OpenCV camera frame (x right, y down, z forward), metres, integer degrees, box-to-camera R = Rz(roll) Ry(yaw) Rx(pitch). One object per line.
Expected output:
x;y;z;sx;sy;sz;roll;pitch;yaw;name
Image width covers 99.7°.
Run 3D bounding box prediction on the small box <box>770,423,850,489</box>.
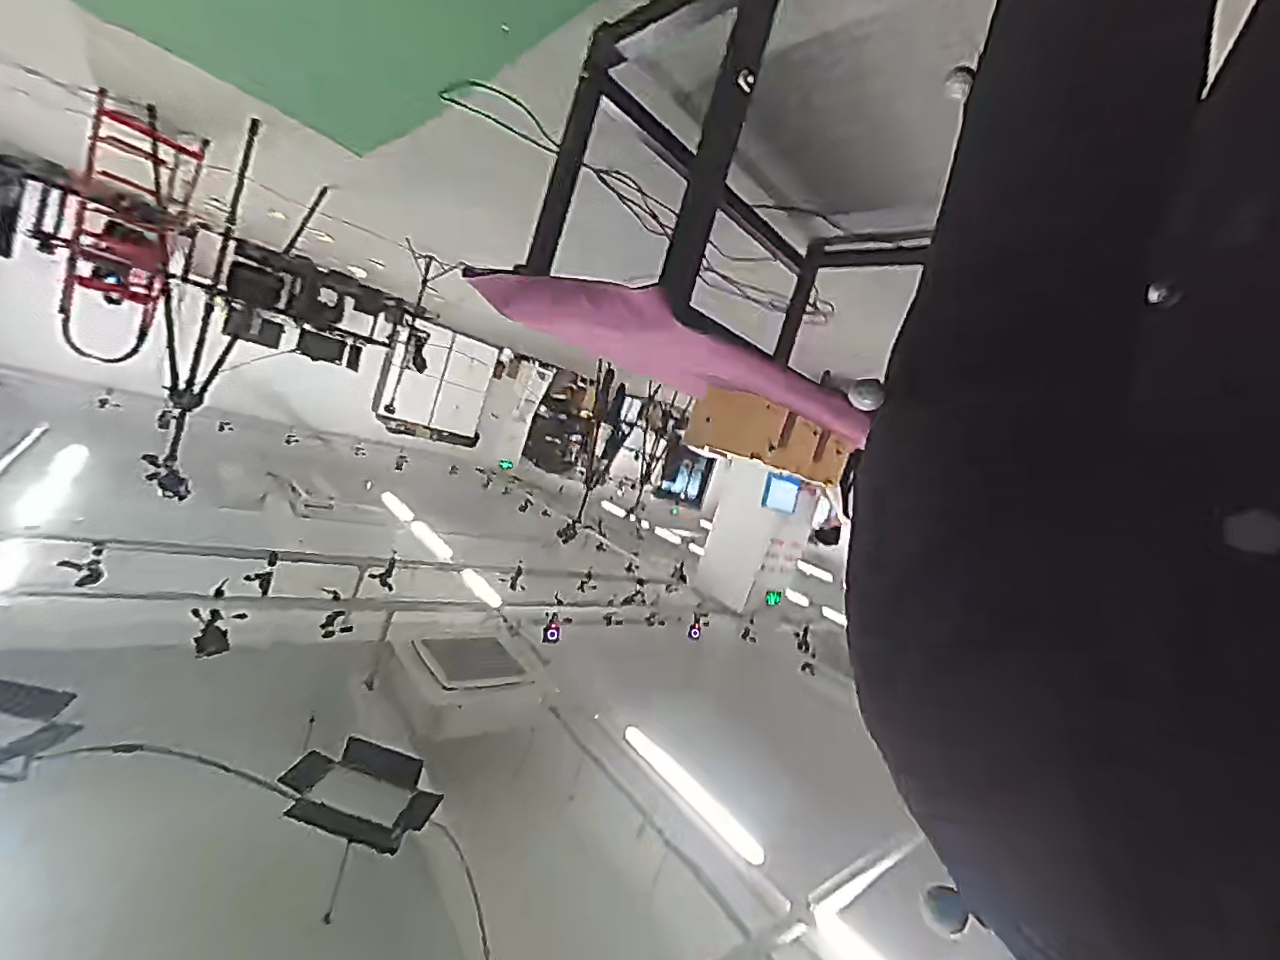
0.573;-0.085;1.819;0.168;0.176;0.179;13;-174;-44;small box
